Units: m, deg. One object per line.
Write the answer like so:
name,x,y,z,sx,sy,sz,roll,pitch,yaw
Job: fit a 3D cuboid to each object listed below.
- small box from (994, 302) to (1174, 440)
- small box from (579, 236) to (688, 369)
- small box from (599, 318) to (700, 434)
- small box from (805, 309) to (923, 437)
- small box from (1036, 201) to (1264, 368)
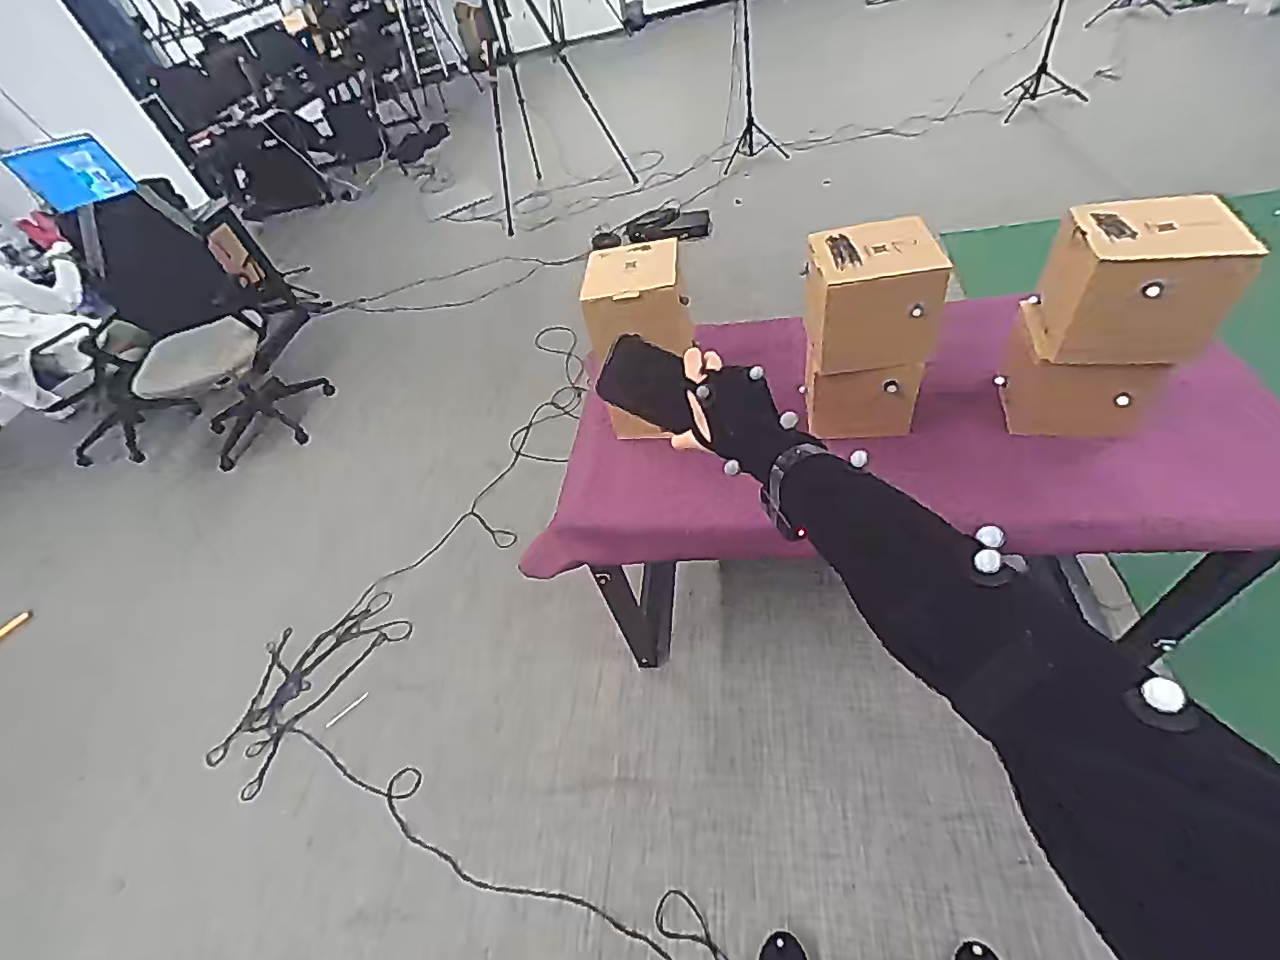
small box,0.731,-0.183,0.916,0.179,0.176,0.168,5,51,19
small box,-0.001,-0.320,1.002,0.168,0.176,0.179,-3,50,11
small box,0.029,-0.208,1.118,0.168,0.176,0.179,0,50,15
small box,0.404,-0.194,1.008,0.179,0.176,0.168,0,50,14
small box,0.707,-0.277,0.783,0.179,0.176,0.168,5,51,18
